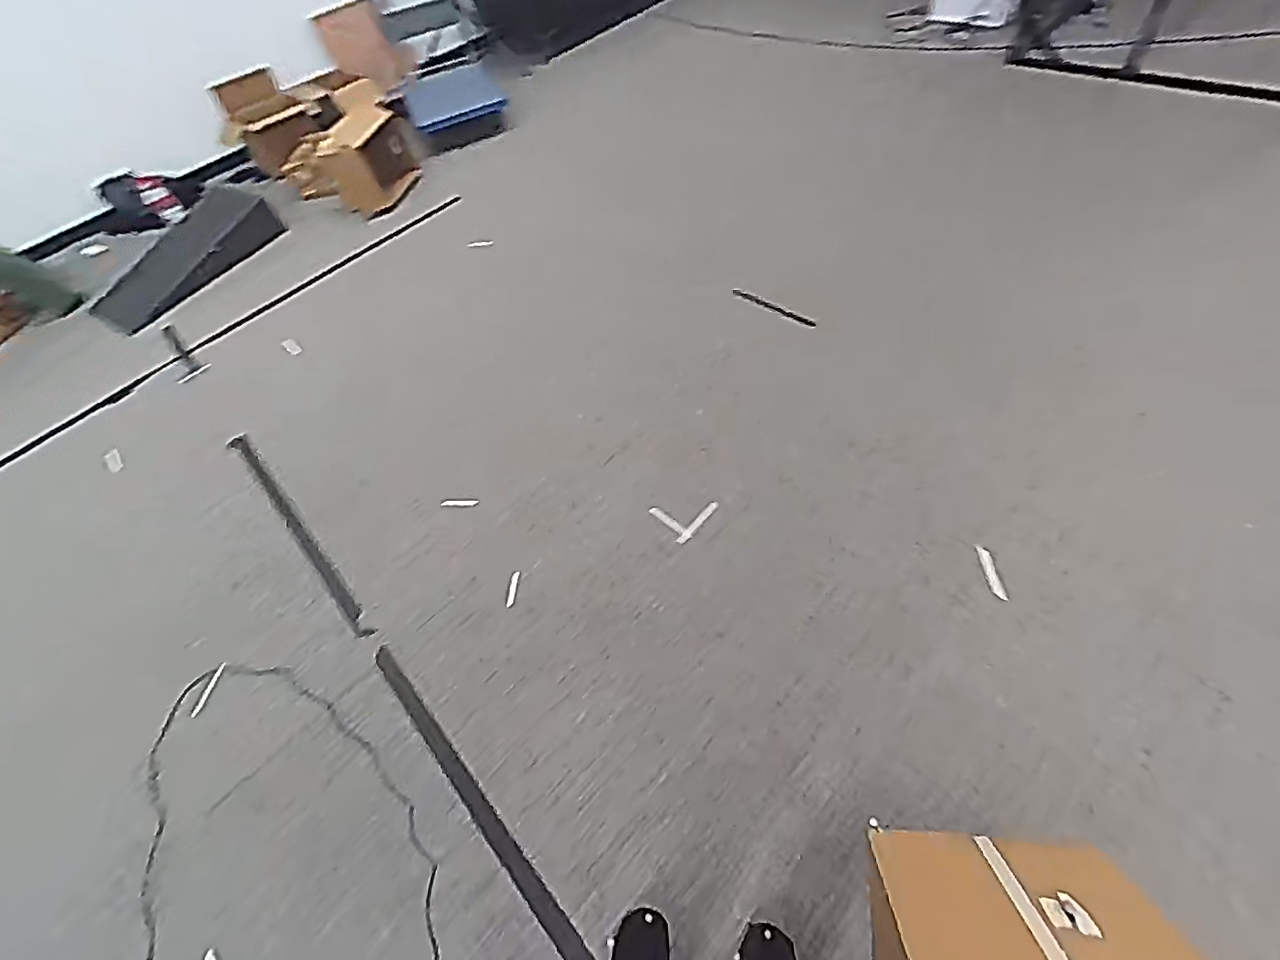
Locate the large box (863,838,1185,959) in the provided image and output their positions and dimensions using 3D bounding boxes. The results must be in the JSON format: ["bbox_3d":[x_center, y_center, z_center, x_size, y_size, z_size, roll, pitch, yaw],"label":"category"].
[{"bbox_3d":[0.465,0.694,0.606,0.320,0.408,0.320,-1,90,10],"label":"large box"}]
